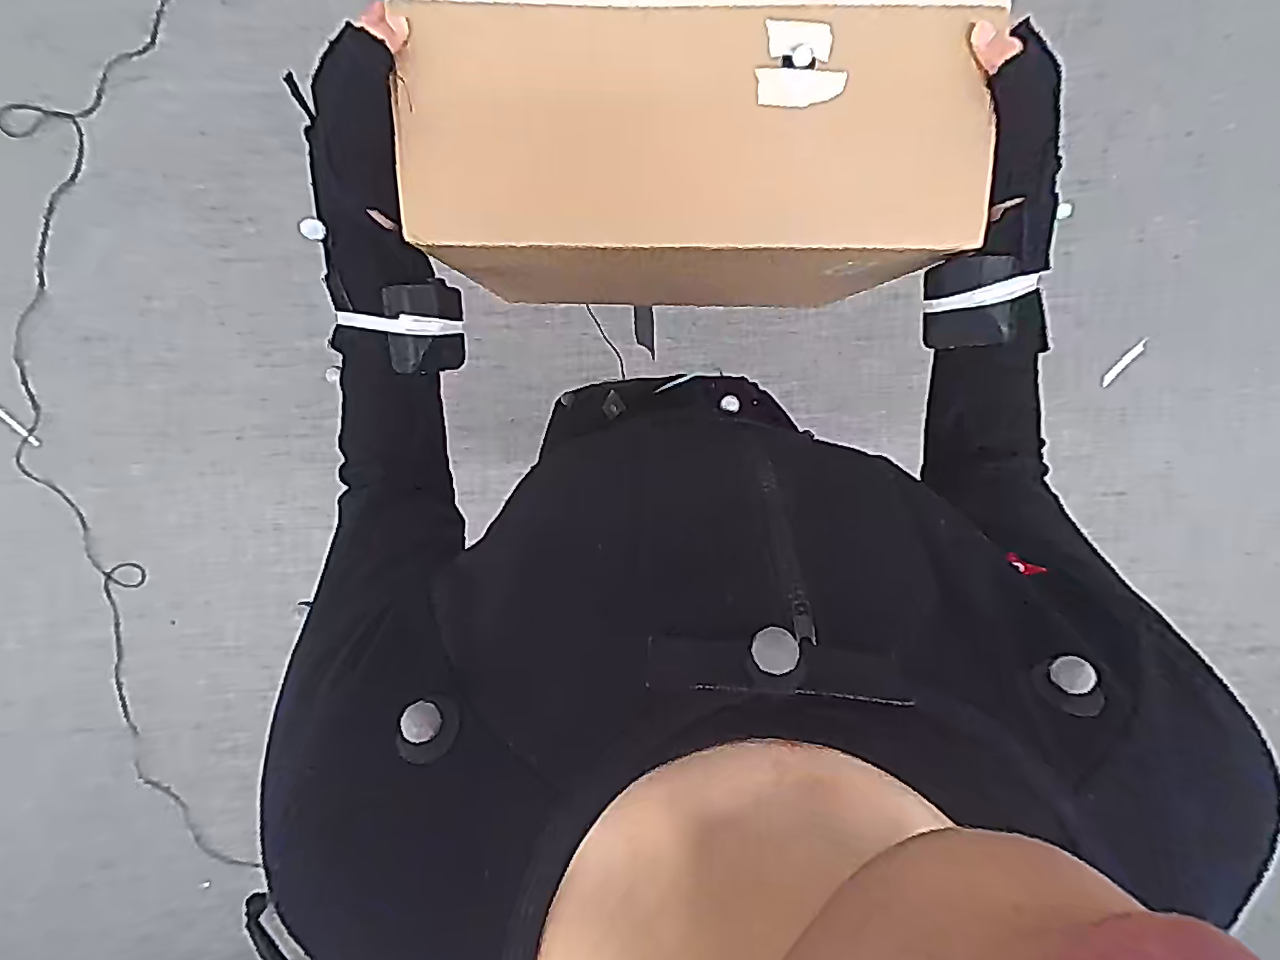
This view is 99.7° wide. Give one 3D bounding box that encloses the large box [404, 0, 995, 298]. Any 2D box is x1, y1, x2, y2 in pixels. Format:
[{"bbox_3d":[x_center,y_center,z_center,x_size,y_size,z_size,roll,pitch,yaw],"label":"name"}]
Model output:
[{"bbox_3d":[0.036,-0.353,0.505,0.408,0.320,0.320,0,102,-2],"label":"large box"}]
